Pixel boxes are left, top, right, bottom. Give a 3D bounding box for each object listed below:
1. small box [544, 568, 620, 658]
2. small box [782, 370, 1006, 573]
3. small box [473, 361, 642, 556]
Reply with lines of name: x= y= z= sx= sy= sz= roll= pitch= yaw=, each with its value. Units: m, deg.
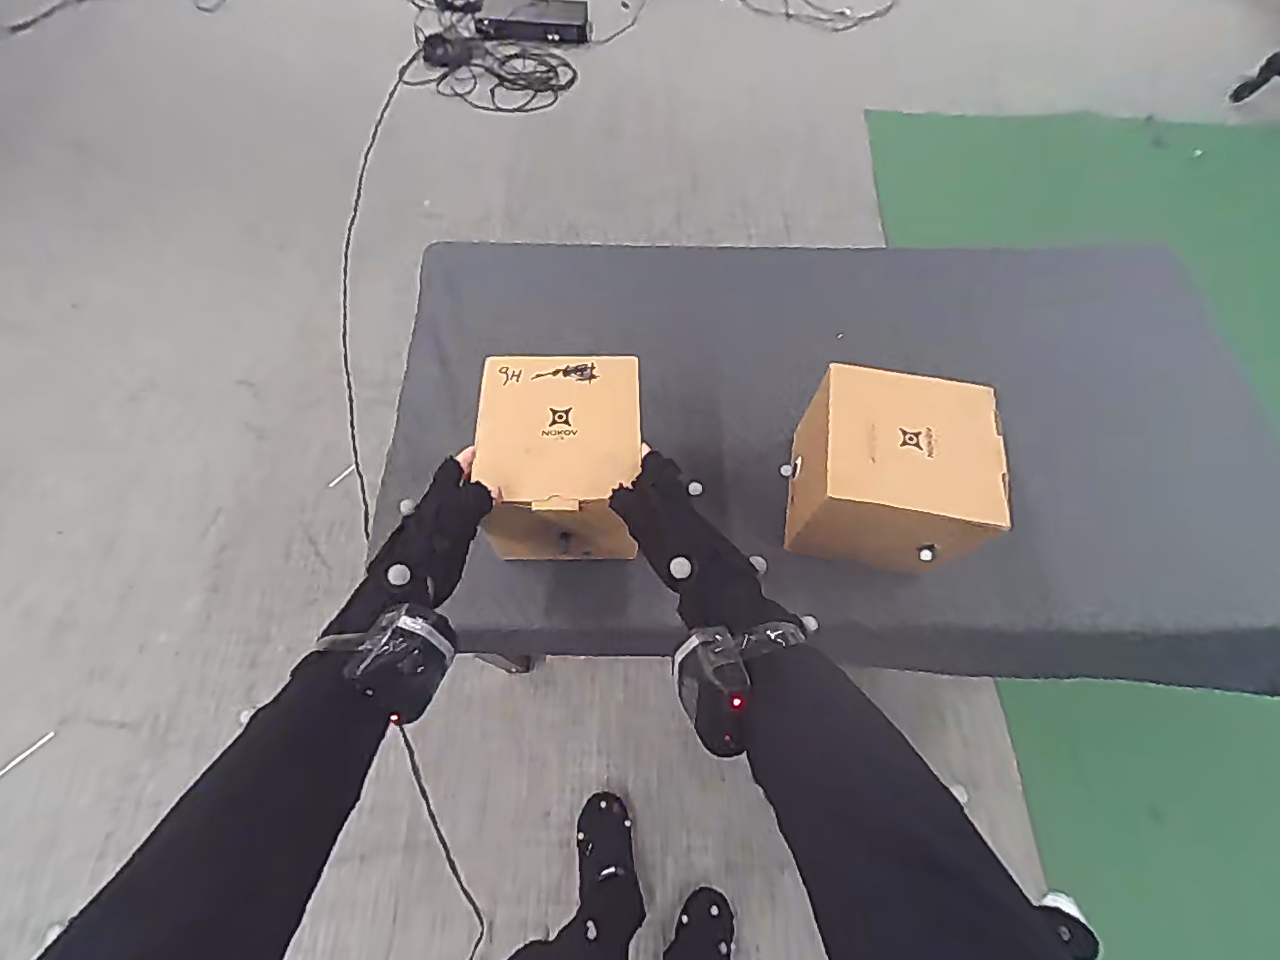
small box: x=-0.131 y=0.315 z=1.271 sx=0.168 sy=0.176 sz=0.179 roll=-2 pitch=65 yaw=-2
small box: x=0.277 y=0.000 z=0.626 sx=0.179 sy=0.176 sz=0.168 roll=9 pitch=63 yaw=3
small box: x=-0.081 y=-0.016 z=0.621 sx=0.168 sy=0.176 sz=0.179 roll=0 pitch=63 yaw=-3
